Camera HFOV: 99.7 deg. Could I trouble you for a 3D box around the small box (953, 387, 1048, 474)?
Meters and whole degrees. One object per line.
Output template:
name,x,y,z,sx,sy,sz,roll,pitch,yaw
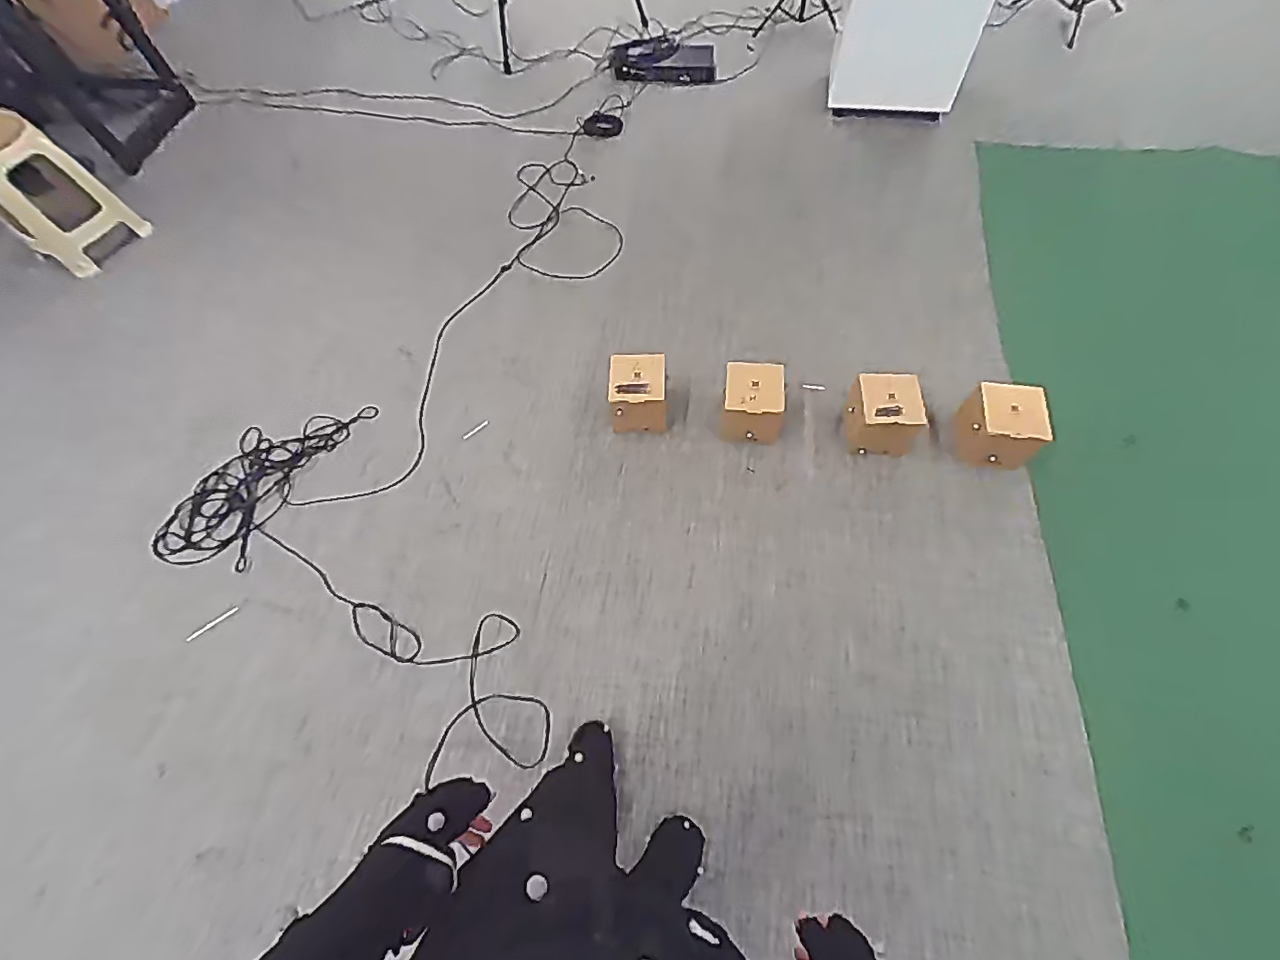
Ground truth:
small box,1.026,-0.141,1.557,0.168,0.176,0.179,7,63,8

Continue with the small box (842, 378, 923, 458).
small box,0.706,-0.178,1.592,0.168,0.176,0.179,3,61,4

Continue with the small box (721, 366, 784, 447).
small box,0.336,-0.220,1.632,0.168,0.176,0.179,4,63,7
